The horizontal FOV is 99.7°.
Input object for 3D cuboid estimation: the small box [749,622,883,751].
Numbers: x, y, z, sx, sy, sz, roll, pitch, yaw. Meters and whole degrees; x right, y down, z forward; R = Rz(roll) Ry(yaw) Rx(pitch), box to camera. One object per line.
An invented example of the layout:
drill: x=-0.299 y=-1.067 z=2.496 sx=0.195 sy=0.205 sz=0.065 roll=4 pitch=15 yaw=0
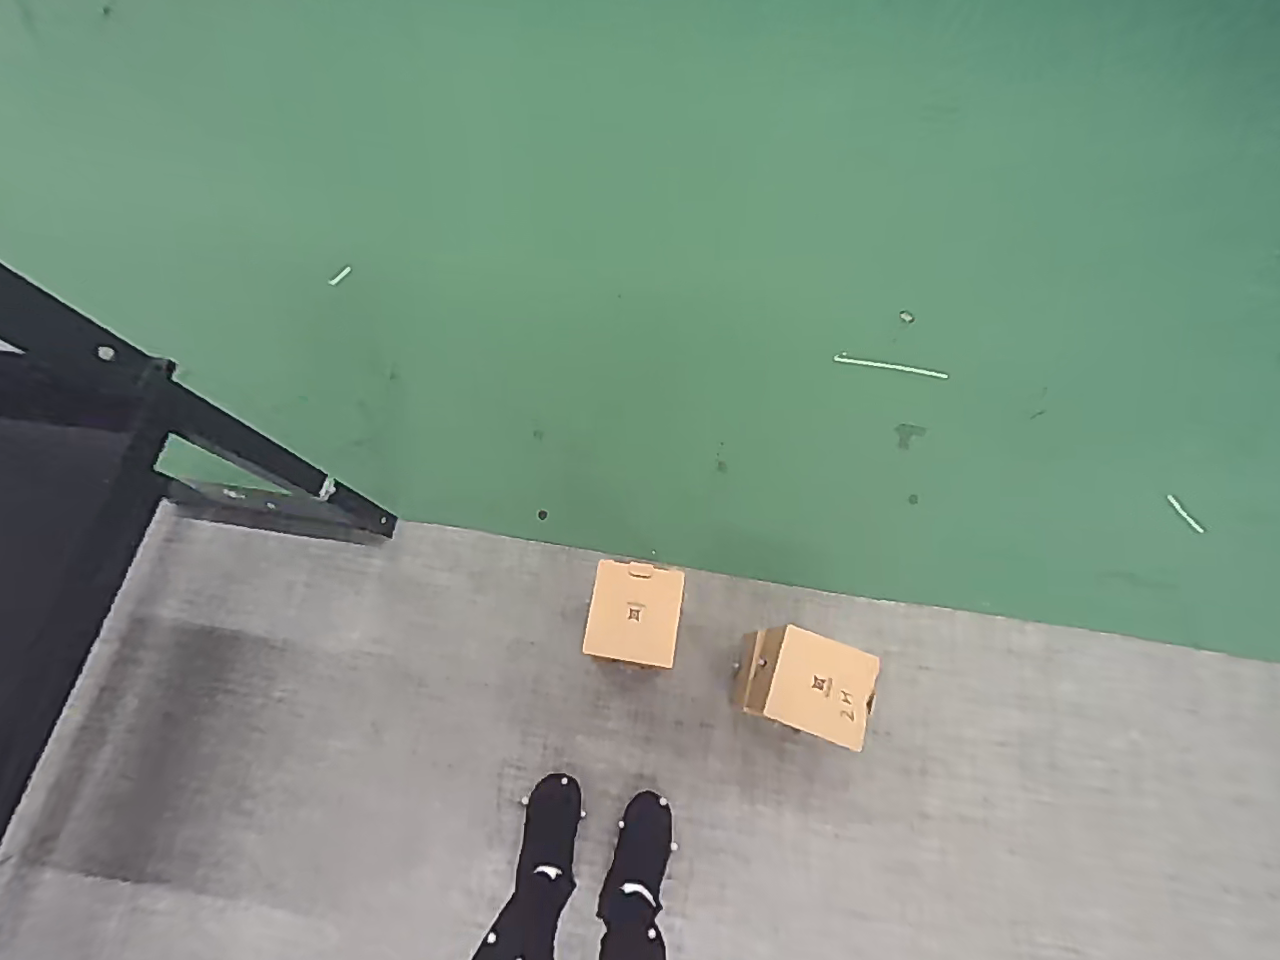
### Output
small box: x=0.317 y=0.379 z=1.006 sx=0.179 sy=0.176 sz=0.168 roll=19 pitch=73 yaw=6

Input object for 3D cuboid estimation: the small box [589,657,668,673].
small box: x=-0.011 y=0.326 z=1.196 sx=0.168 sy=0.176 sz=0.179 roll=7 pitch=71 yaw=2

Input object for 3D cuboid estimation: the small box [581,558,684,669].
small box: x=-0.010 y=0.264 z=1.046 sx=0.168 sy=0.176 sz=0.179 roll=8 pitch=70 yaw=3
